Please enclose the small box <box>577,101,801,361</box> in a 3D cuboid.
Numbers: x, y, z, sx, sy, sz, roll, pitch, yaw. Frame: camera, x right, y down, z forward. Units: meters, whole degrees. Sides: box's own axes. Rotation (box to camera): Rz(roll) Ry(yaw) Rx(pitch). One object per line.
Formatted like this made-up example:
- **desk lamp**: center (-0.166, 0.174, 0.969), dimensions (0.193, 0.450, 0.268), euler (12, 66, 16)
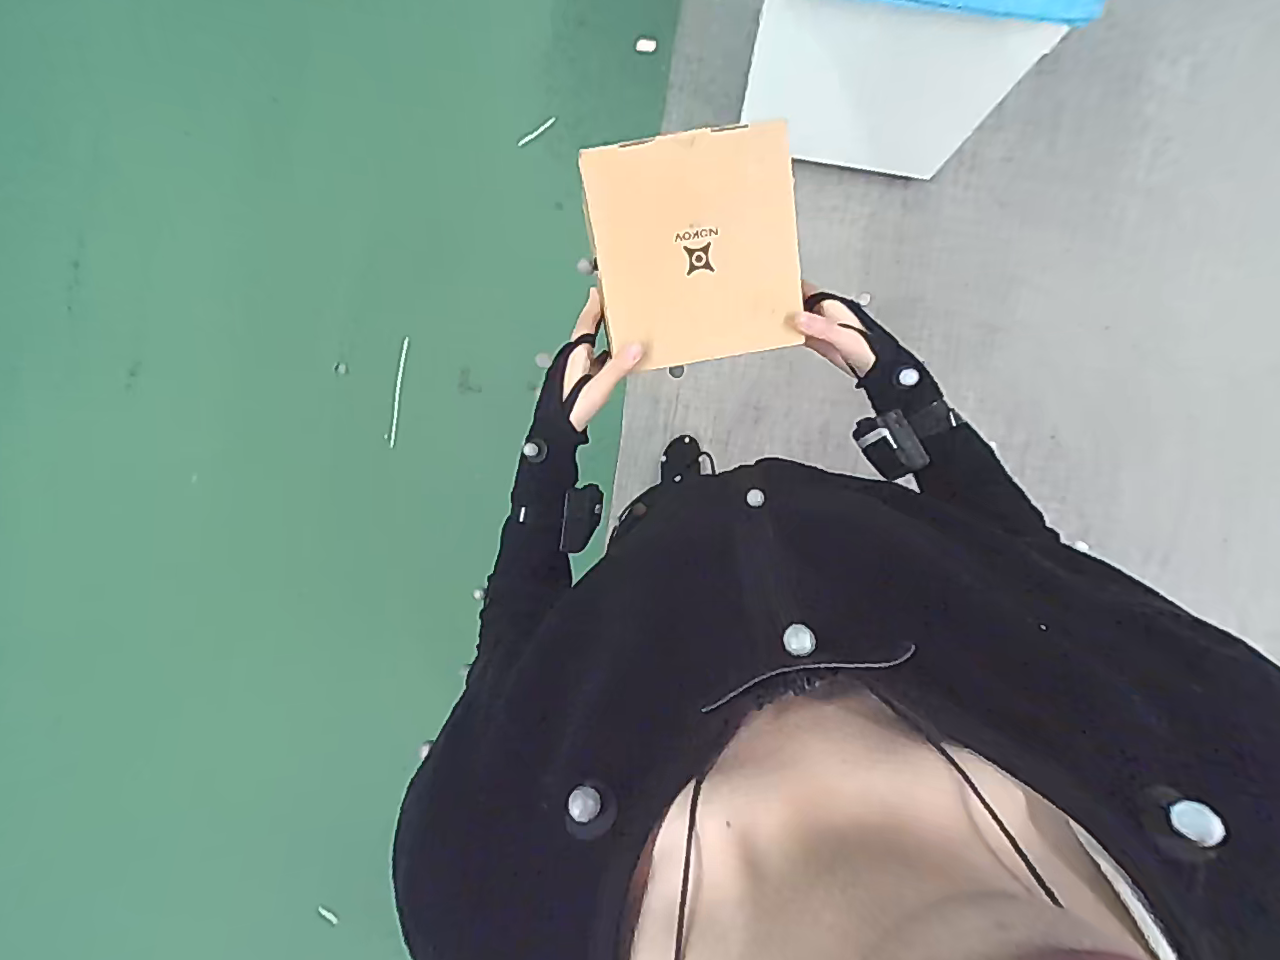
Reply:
- **small box**: center (0.039, -0.213, 0.505), dimensions (0.168, 0.176, 0.179), euler (-9, 105, -2)
